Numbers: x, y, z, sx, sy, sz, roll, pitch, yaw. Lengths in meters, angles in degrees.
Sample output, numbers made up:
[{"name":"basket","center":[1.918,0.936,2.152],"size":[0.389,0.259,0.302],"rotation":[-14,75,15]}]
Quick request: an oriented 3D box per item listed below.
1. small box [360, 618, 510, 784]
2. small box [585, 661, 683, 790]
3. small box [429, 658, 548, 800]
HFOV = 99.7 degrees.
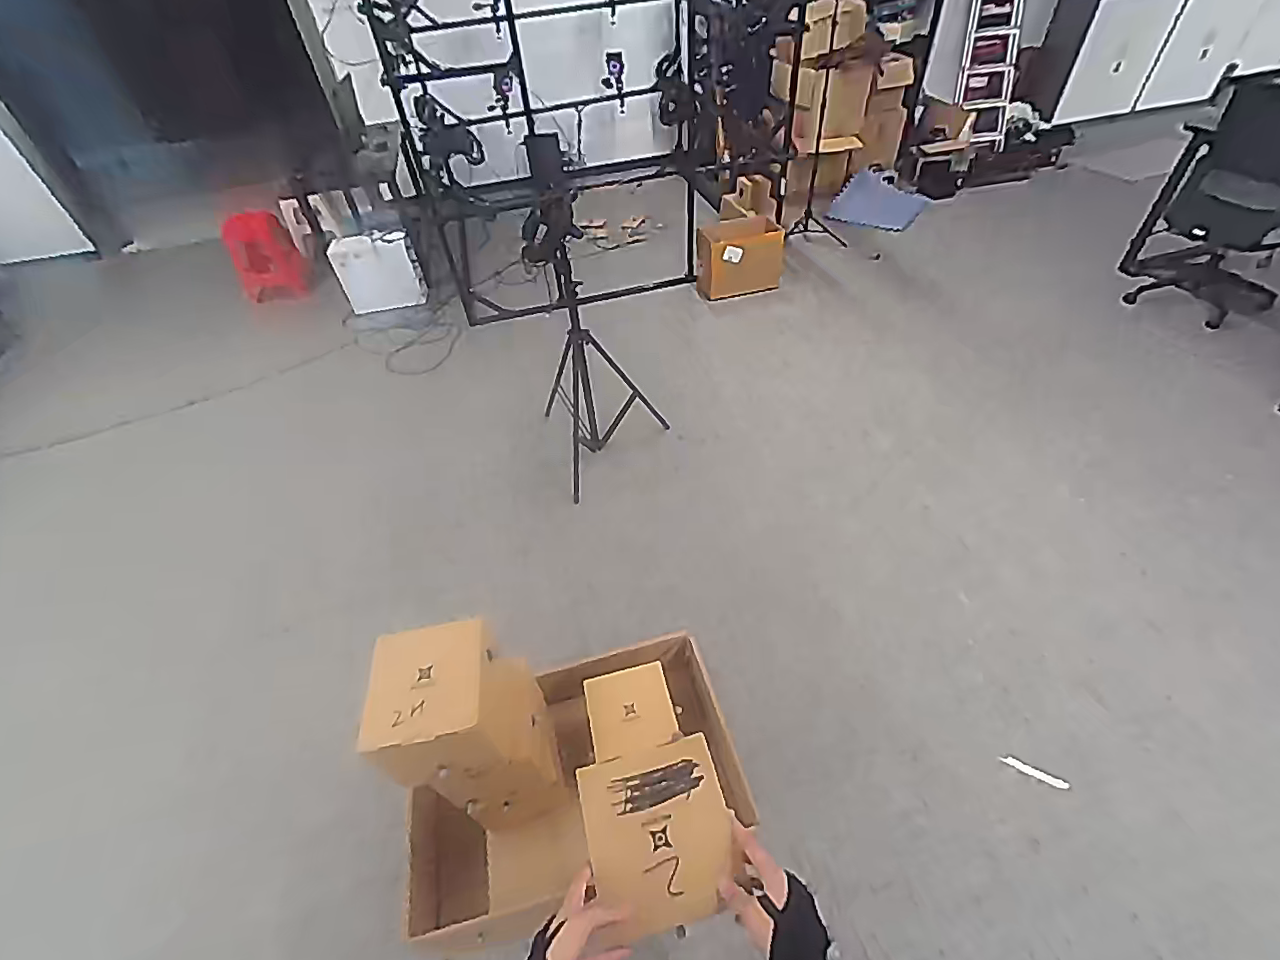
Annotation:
[{"name":"small box","center":[-0.306,0.347,0.848],"size":[0.168,0.176,0.179],"rotation":[-10,47,-4]},{"name":"small box","center":[-0.012,0.508,1.119],"size":[0.168,0.176,0.179],"rotation":[-13,47,-6]},{"name":"small box","center":[-0.264,0.452,0.970],"size":[0.168,0.176,0.179],"rotation":[-11,46,-5]}]
